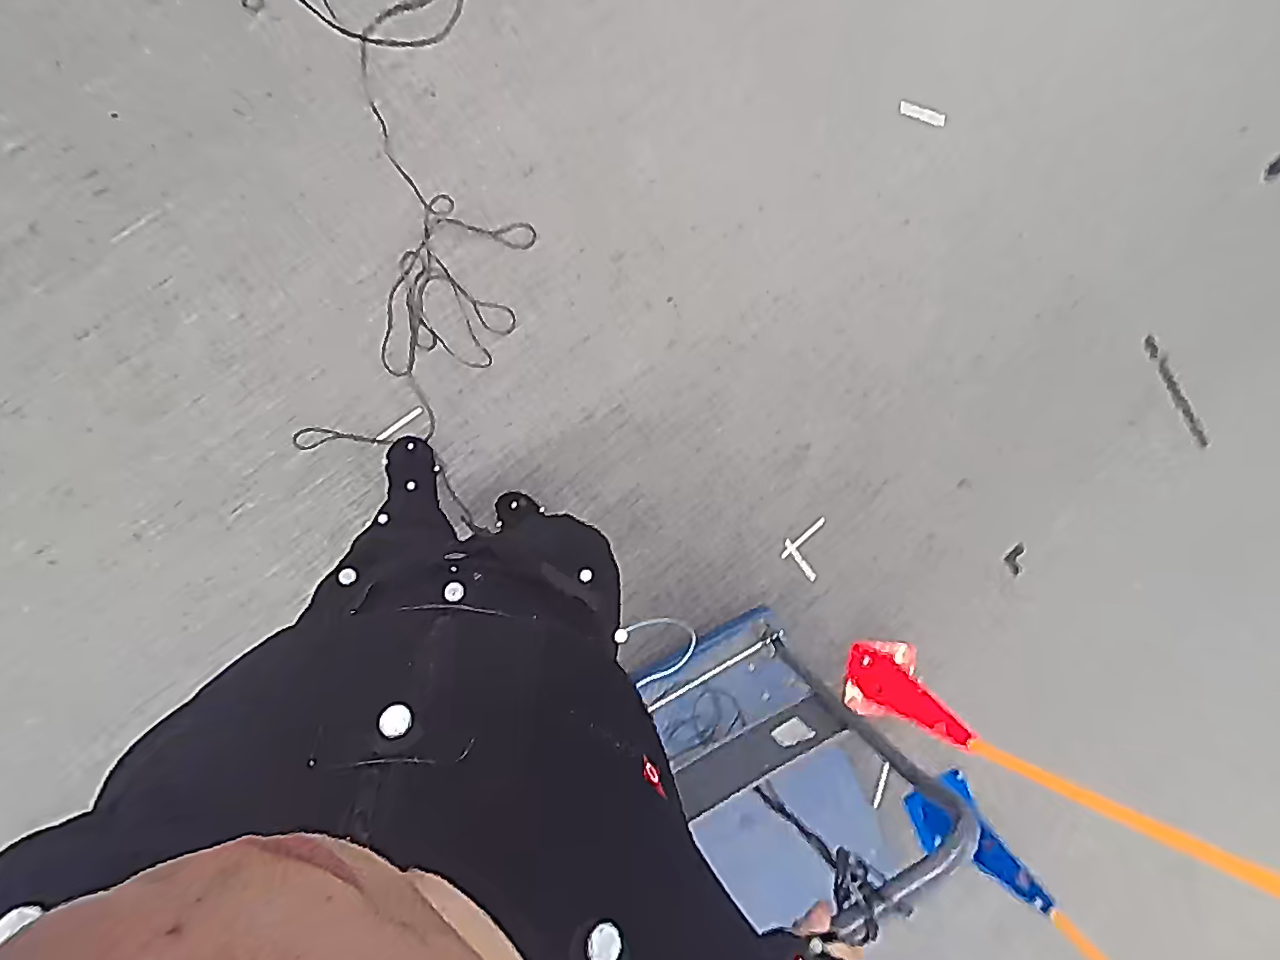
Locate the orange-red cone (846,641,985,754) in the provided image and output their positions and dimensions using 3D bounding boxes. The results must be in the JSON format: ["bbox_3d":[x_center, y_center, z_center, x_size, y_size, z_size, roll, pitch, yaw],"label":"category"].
[{"bbox_3d":[0.697,0.560,1.325,0.198,0.360,0.199,7,93,-8],"label":"orange-red cone"}]

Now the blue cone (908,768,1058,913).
[{"bbox_3d":[0.897,0.951,1.388,0.193,0.380,0.192,-23,95,-7],"label":"blue cone"}]
